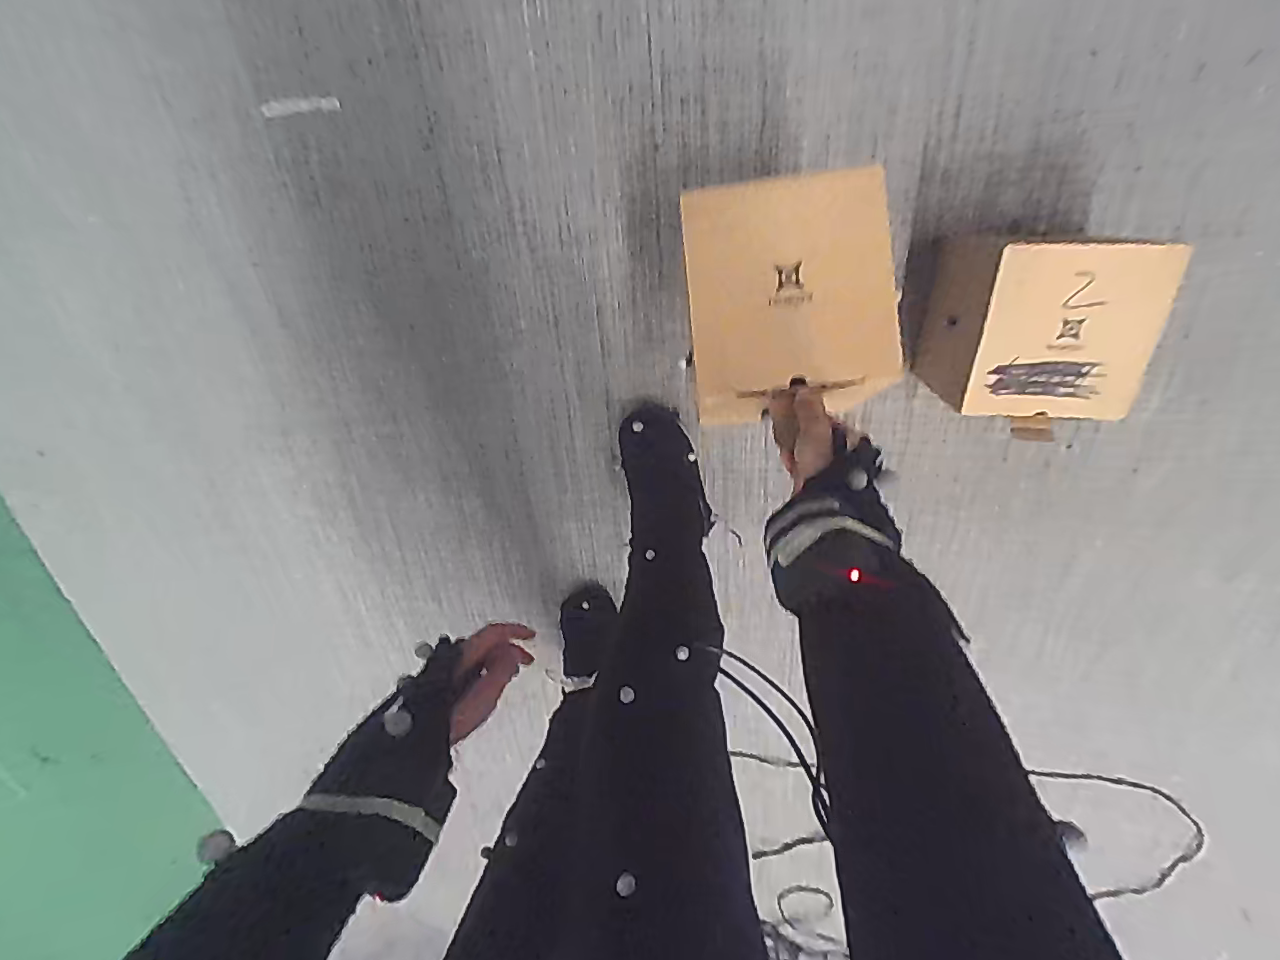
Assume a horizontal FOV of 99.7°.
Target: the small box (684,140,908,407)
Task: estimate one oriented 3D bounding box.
[{"bbox_3d":[0.129,-0.175,0.510,0.168,0.176,0.179,-5,89,6],"label":"small box"}]
